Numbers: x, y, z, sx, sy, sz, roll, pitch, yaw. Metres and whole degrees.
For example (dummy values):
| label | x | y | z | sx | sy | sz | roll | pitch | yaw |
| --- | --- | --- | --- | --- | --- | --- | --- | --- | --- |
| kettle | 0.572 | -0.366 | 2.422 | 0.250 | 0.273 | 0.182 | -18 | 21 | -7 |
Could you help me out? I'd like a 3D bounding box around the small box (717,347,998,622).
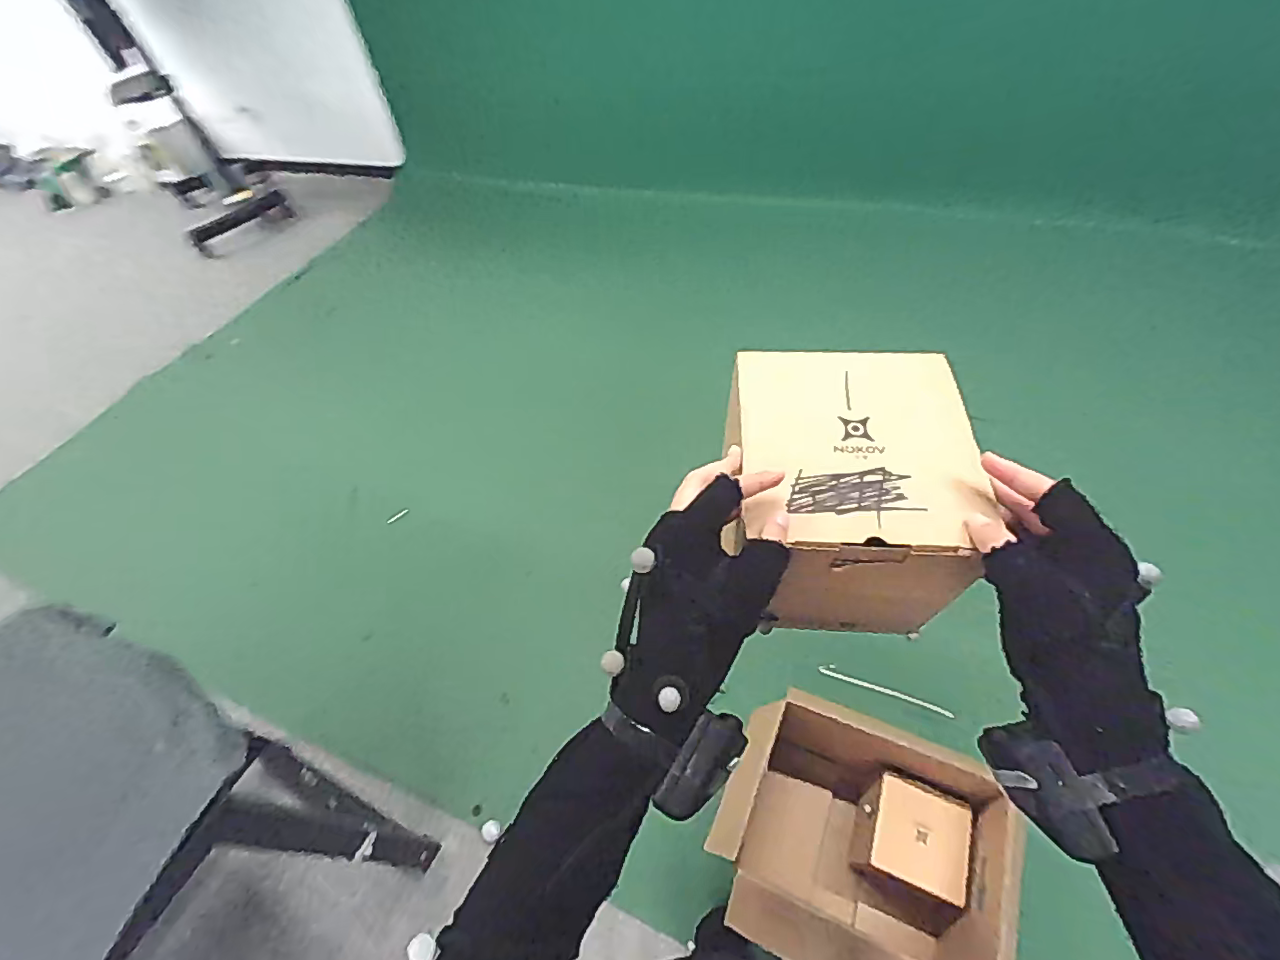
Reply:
| label | x | y | z | sx | sy | sz | roll | pitch | yaw |
| --- | --- | --- | --- | --- | --- | --- | --- | --- | --- |
| small box | 0.155 | 0.010 | 0.456 | 0.168 | 0.176 | 0.179 | 1 | 57 | 4 |
